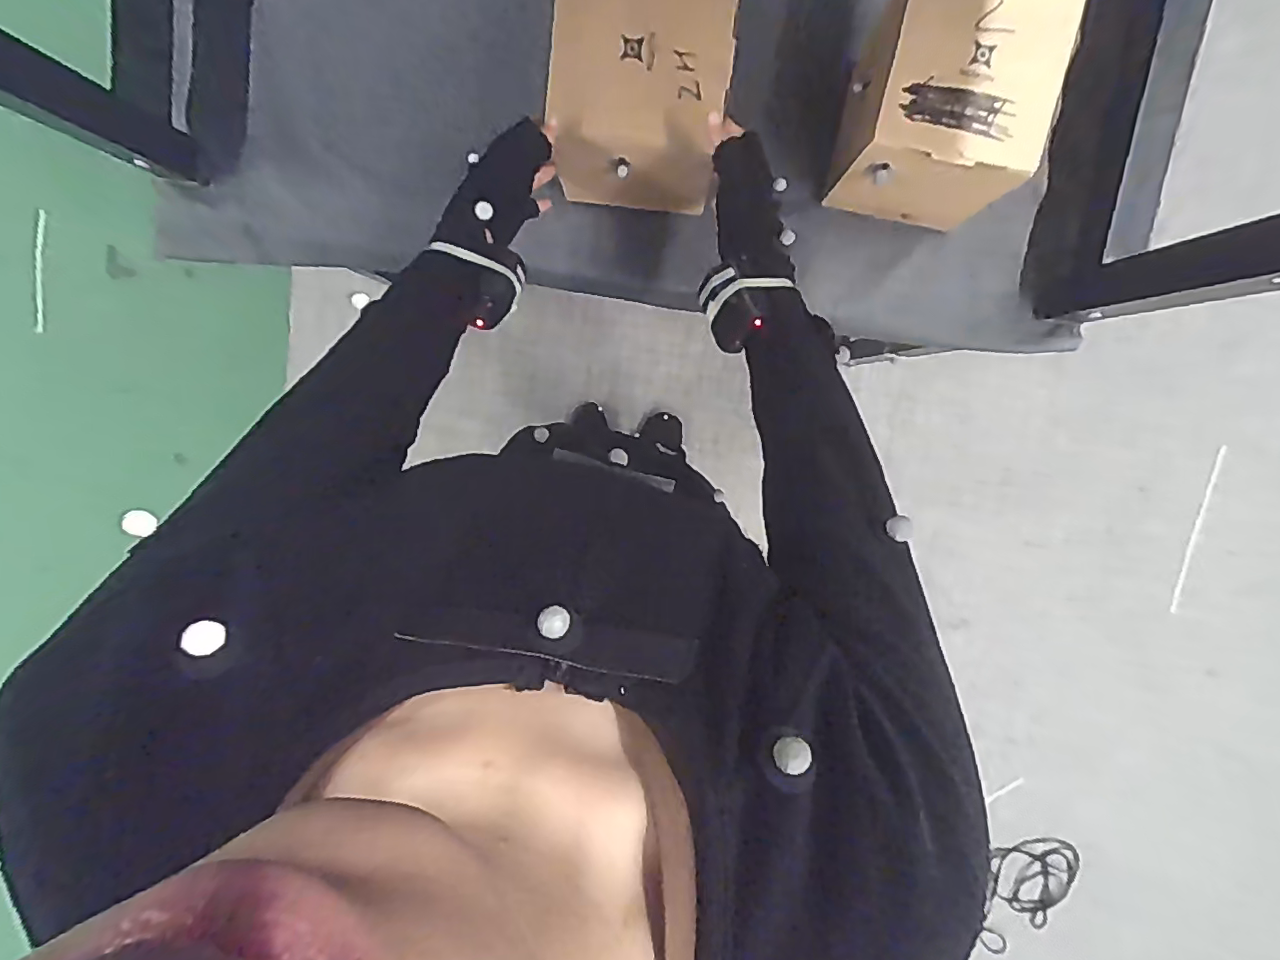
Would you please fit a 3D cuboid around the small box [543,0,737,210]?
[{"bbox_3d":[0.001,-0.419,0.600,0.179,0.176,0.168,7,98,-1],"label":"small box"}]
